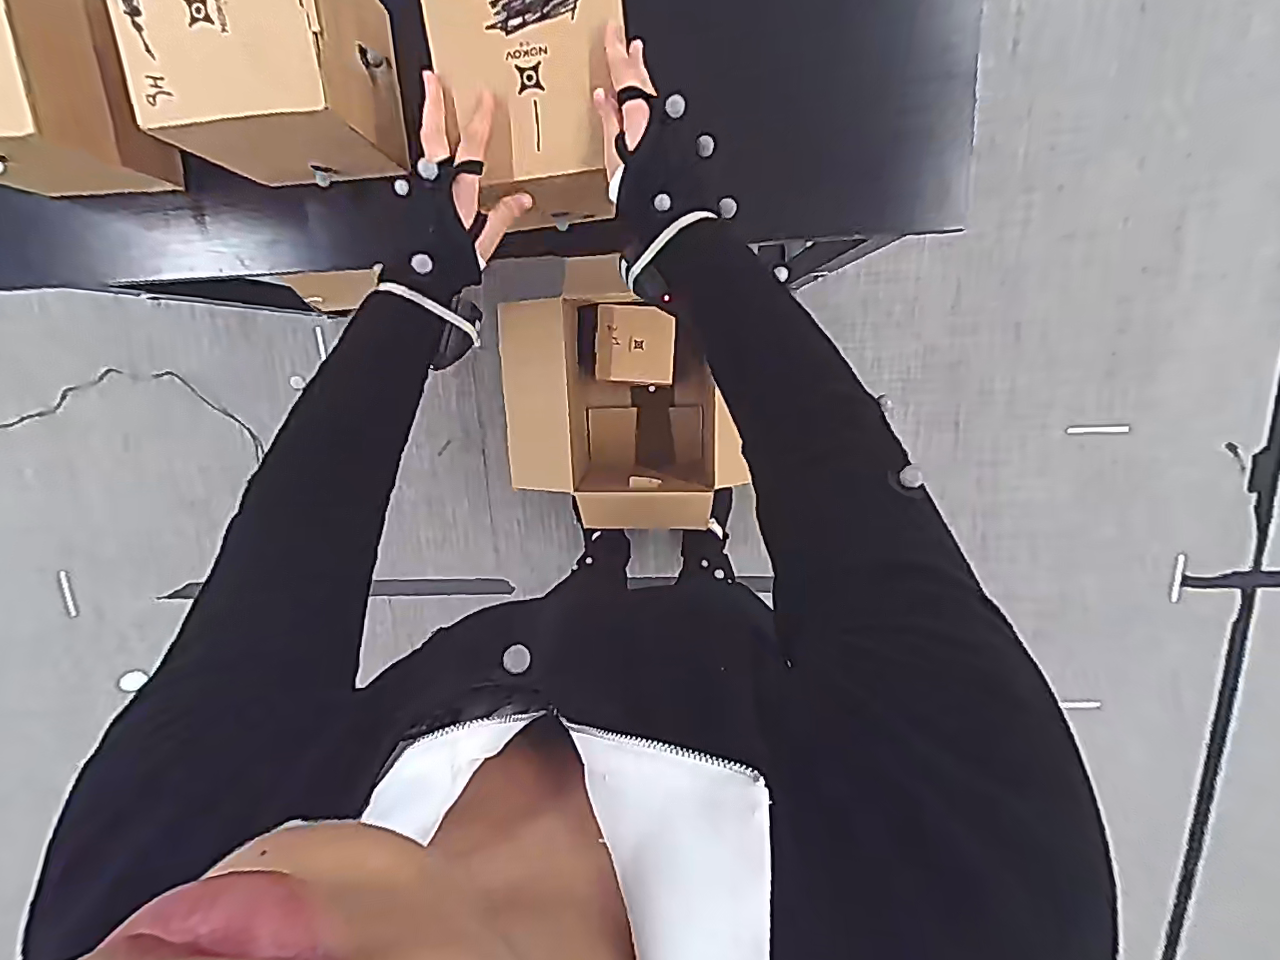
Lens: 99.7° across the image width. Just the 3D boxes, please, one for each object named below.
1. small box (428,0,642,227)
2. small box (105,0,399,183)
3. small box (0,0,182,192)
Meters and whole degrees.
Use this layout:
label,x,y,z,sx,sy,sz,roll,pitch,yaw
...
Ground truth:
label,x,y,z,sx,sy,sz,roll,pitch,yaw
small box,-0.087,-0.368,0.529,0.168,0.176,0.179,-6,103,3
small box,-0.356,-0.408,0.528,0.179,0.176,0.168,-4,102,1
small box,-0.619,-0.398,0.536,0.179,0.176,0.168,-1,103,1
